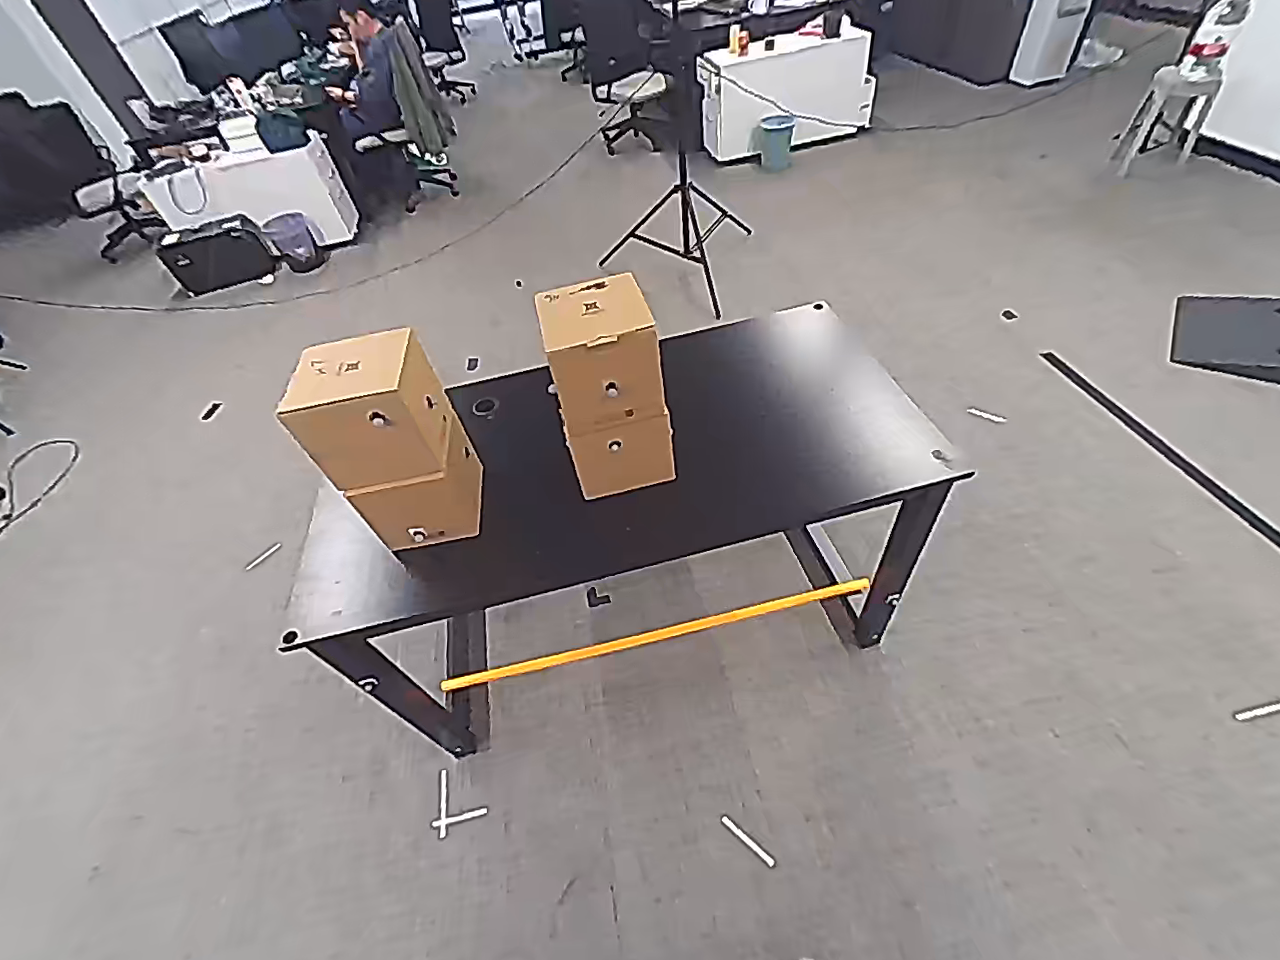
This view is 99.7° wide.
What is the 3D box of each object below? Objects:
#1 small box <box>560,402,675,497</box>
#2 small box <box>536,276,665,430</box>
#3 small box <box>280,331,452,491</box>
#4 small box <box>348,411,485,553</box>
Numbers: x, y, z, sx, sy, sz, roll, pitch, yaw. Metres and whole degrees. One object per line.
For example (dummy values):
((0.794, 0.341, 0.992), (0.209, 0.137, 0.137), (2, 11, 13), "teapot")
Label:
((-0.041, -0.089, 1.003), (0.179, 0.176, 0.168), (-13, 48, -3), "small box")
((-0.061, -0.200, 0.885), (0.168, 0.176, 0.179), (-14, 49, -3), "small box")
((-0.417, -0.107, 0.861), (0.179, 0.176, 0.168), (-12, 47, 0), "small box")
((-0.390, 0.006, 0.979), (0.168, 0.176, 0.179), (-12, 49, 0), "small box")
